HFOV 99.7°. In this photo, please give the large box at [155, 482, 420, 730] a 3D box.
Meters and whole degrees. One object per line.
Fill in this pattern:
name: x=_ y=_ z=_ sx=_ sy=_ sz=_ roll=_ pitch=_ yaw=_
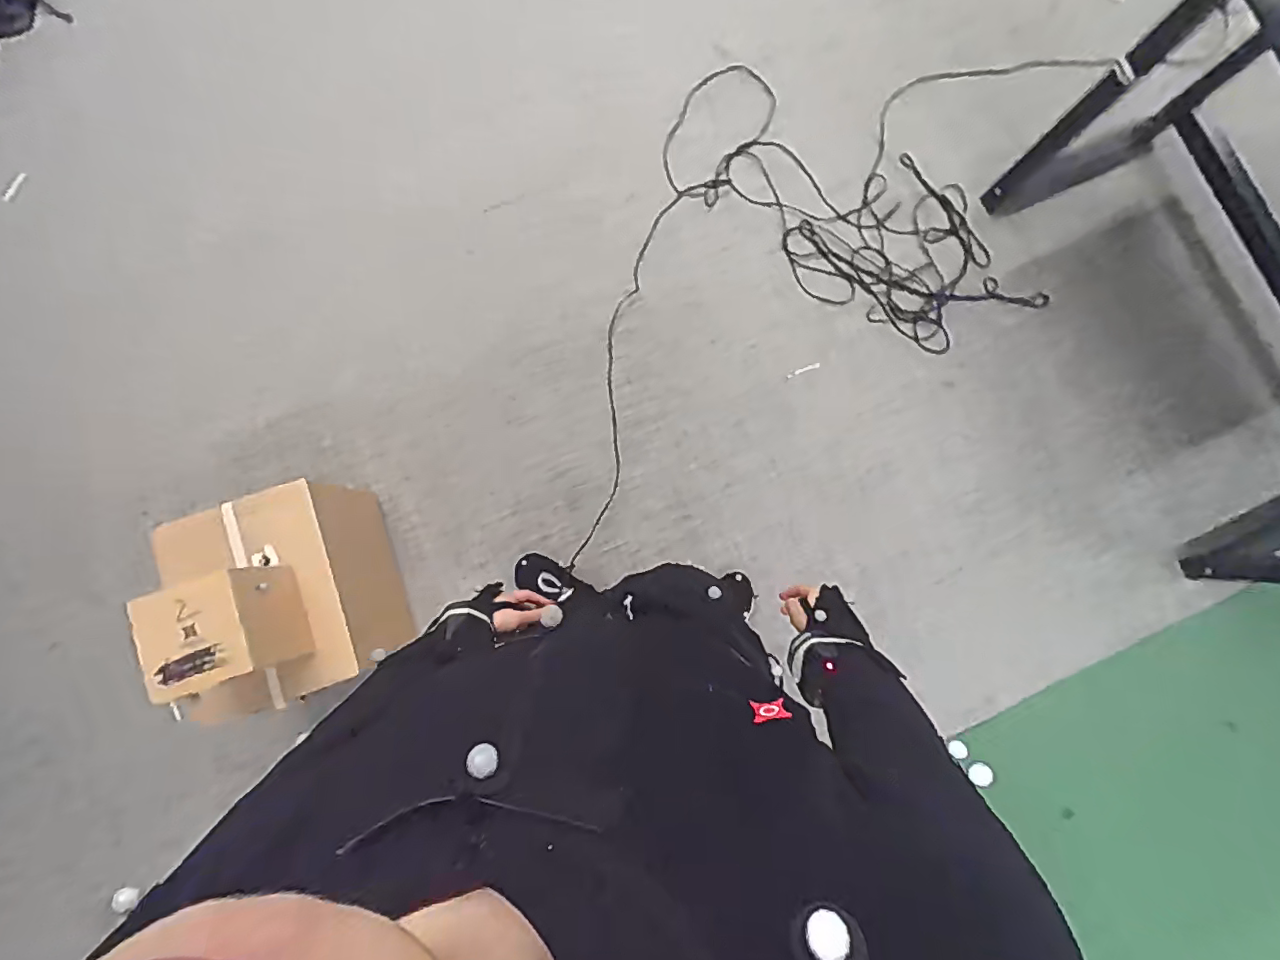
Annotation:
large box: x=-0.741 y=0.258 z=1.189 sx=0.320 sy=0.320 sz=0.408 roll=-20 pitch=83 yaw=-5
